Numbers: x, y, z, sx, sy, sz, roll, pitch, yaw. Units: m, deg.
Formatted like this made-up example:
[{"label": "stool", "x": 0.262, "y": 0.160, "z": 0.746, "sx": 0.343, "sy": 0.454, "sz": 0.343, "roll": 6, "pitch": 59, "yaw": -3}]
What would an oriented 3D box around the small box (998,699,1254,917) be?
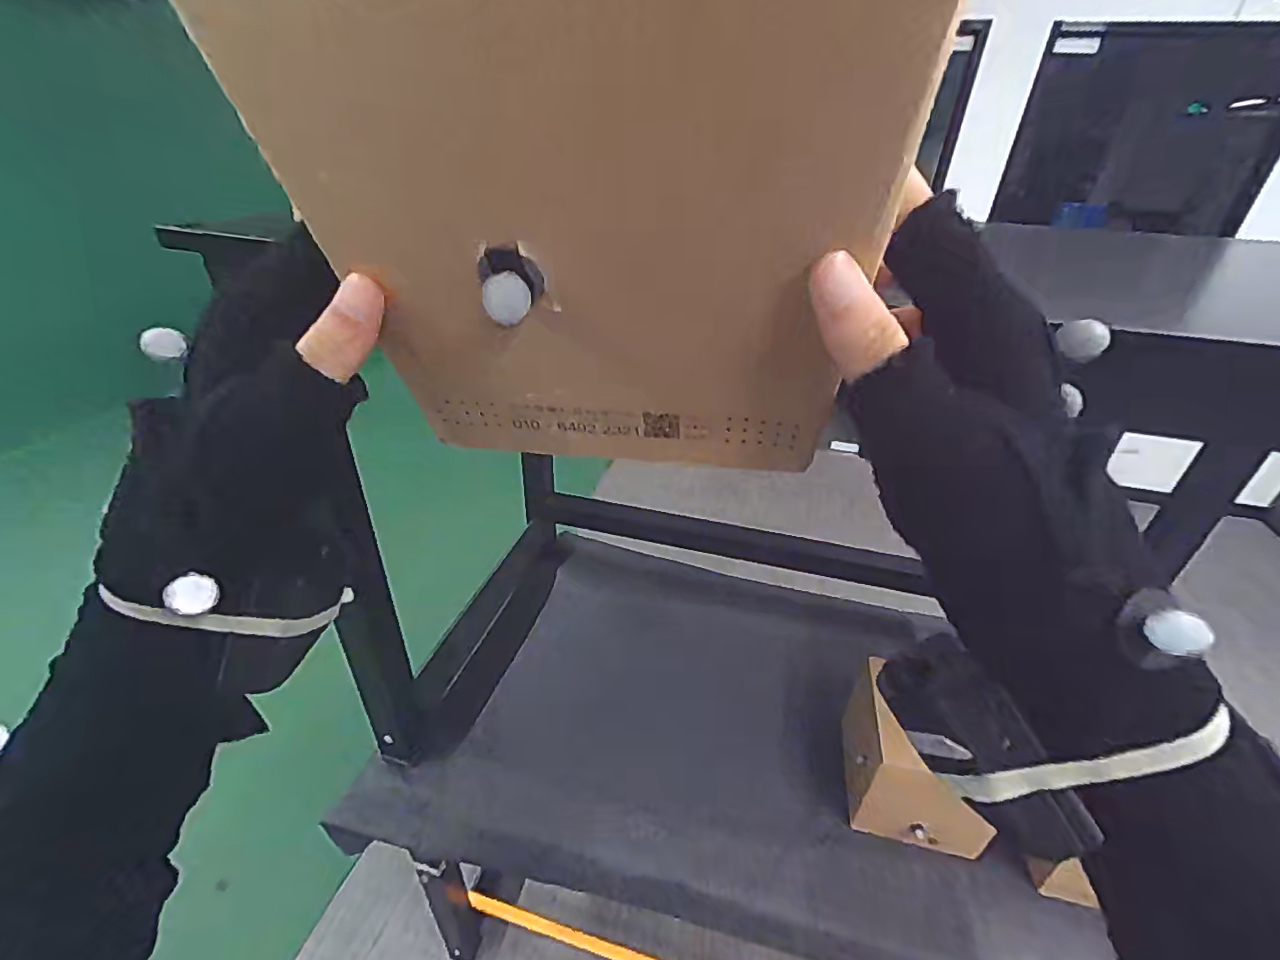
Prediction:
[{"label": "small box", "x": 0.619, "y": 0.435, "z": 0.722, "sx": 0.168, "sy": 0.176, "sz": 0.179, "roll": 9, "pitch": 31, "yaw": 10}]
